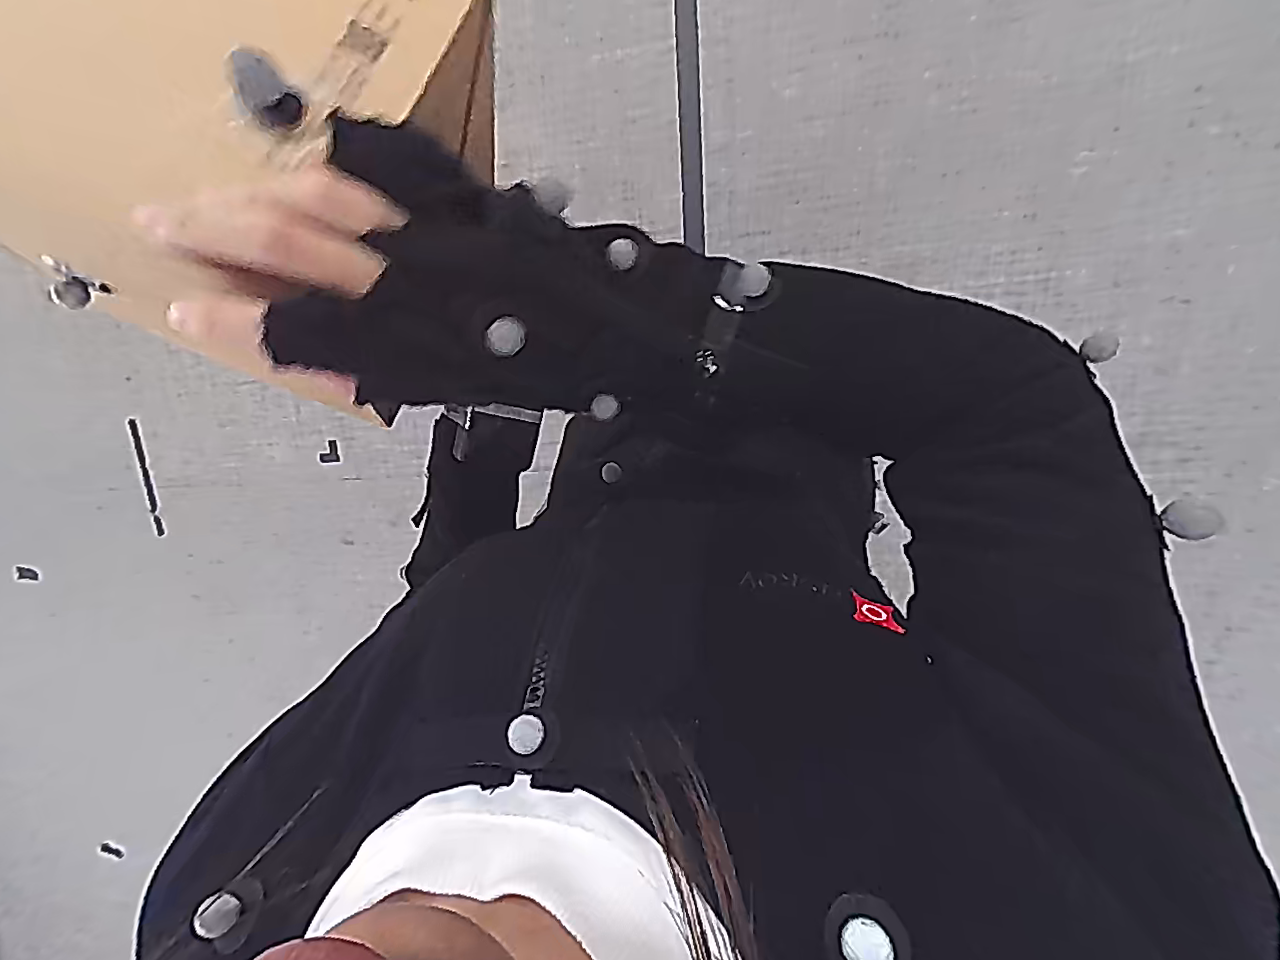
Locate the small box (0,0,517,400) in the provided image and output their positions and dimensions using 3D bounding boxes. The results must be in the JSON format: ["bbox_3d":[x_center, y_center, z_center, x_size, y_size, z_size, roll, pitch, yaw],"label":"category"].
[{"bbox_3d":[-0.173,-0.162,0.277,0.176,0.179,0.168,23,75,-12],"label":"small box"}]
